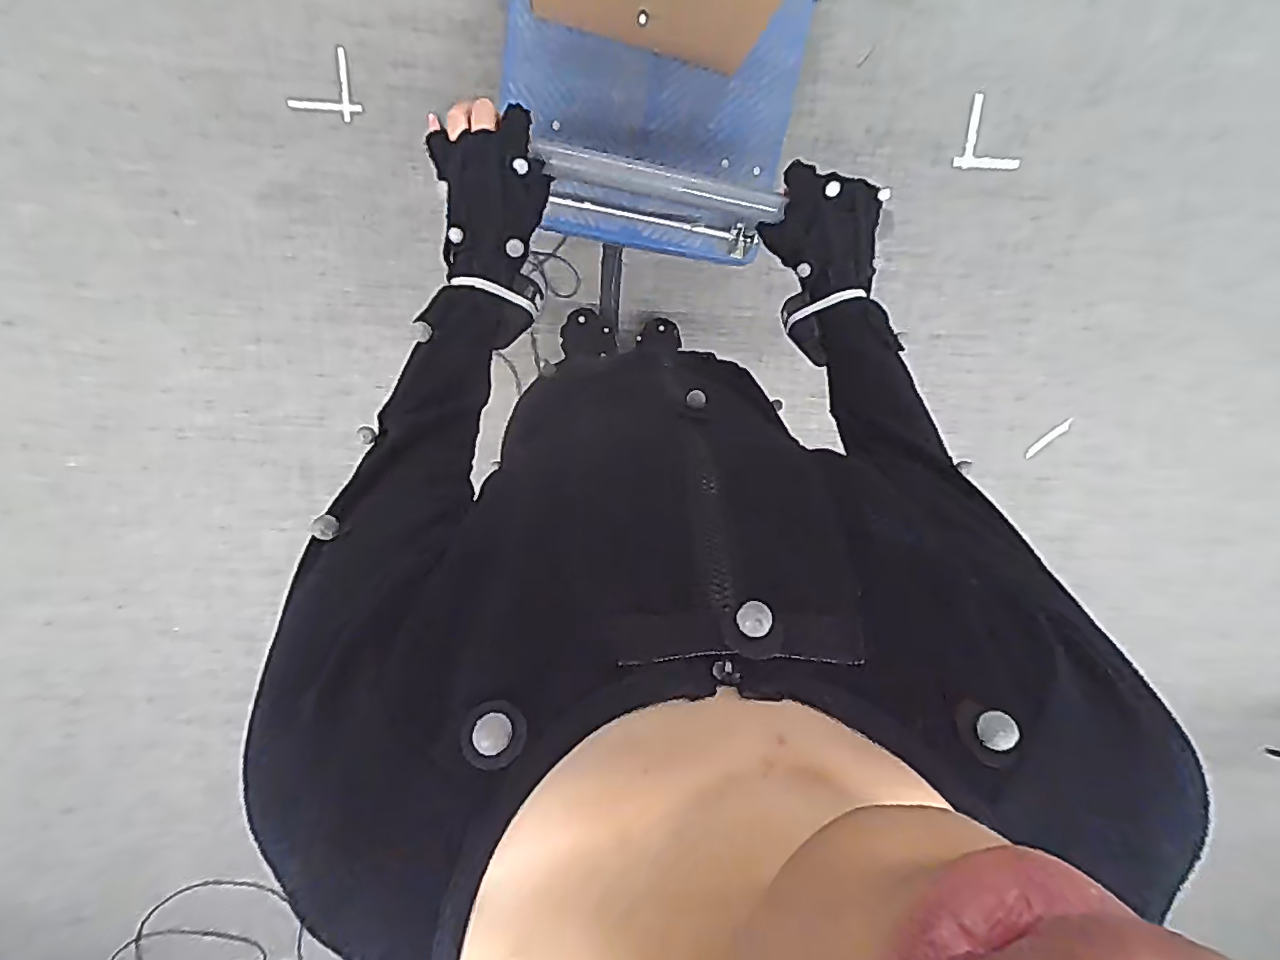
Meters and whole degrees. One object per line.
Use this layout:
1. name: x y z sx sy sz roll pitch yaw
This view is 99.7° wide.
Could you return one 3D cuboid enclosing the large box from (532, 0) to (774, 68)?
1. large box: 0.032 -0.946 0.879 0.408 0.320 0.320 10 107 -8
